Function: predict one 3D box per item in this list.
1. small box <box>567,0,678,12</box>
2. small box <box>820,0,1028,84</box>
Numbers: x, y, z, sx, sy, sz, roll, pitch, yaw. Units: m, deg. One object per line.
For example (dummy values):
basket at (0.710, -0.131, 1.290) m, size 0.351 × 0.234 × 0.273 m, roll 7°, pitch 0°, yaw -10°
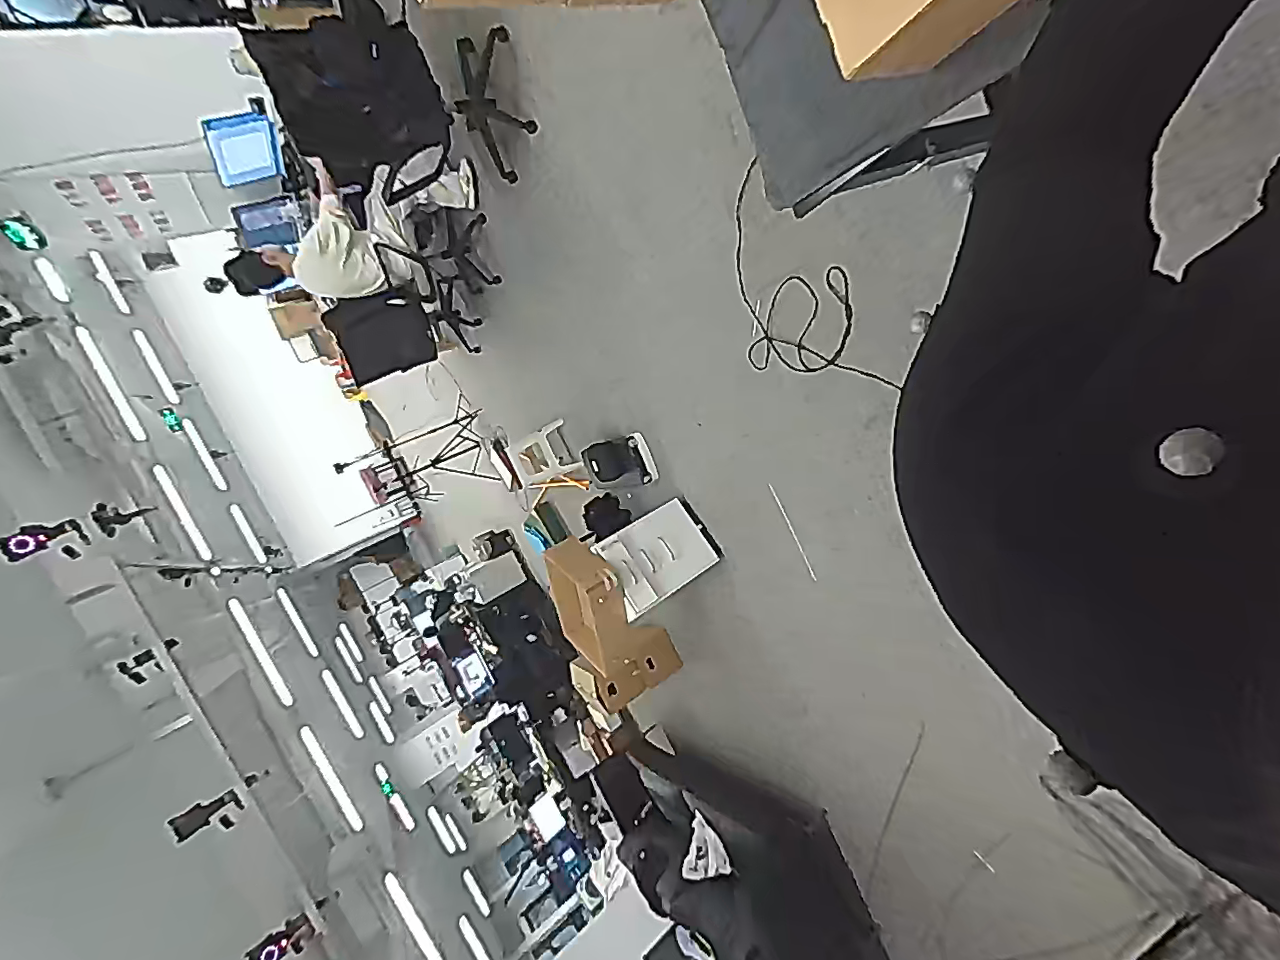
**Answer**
small box at (-0.013, -0.650, 0.568) m, size 0.168 × 0.176 × 0.179 m, roll 62°, pitch 153°, yaw -4°
small box at (0.291, -0.527, 0.518) m, size 0.179 × 0.176 × 0.168 m, roll -10°, pitch 106°, yaw 61°
